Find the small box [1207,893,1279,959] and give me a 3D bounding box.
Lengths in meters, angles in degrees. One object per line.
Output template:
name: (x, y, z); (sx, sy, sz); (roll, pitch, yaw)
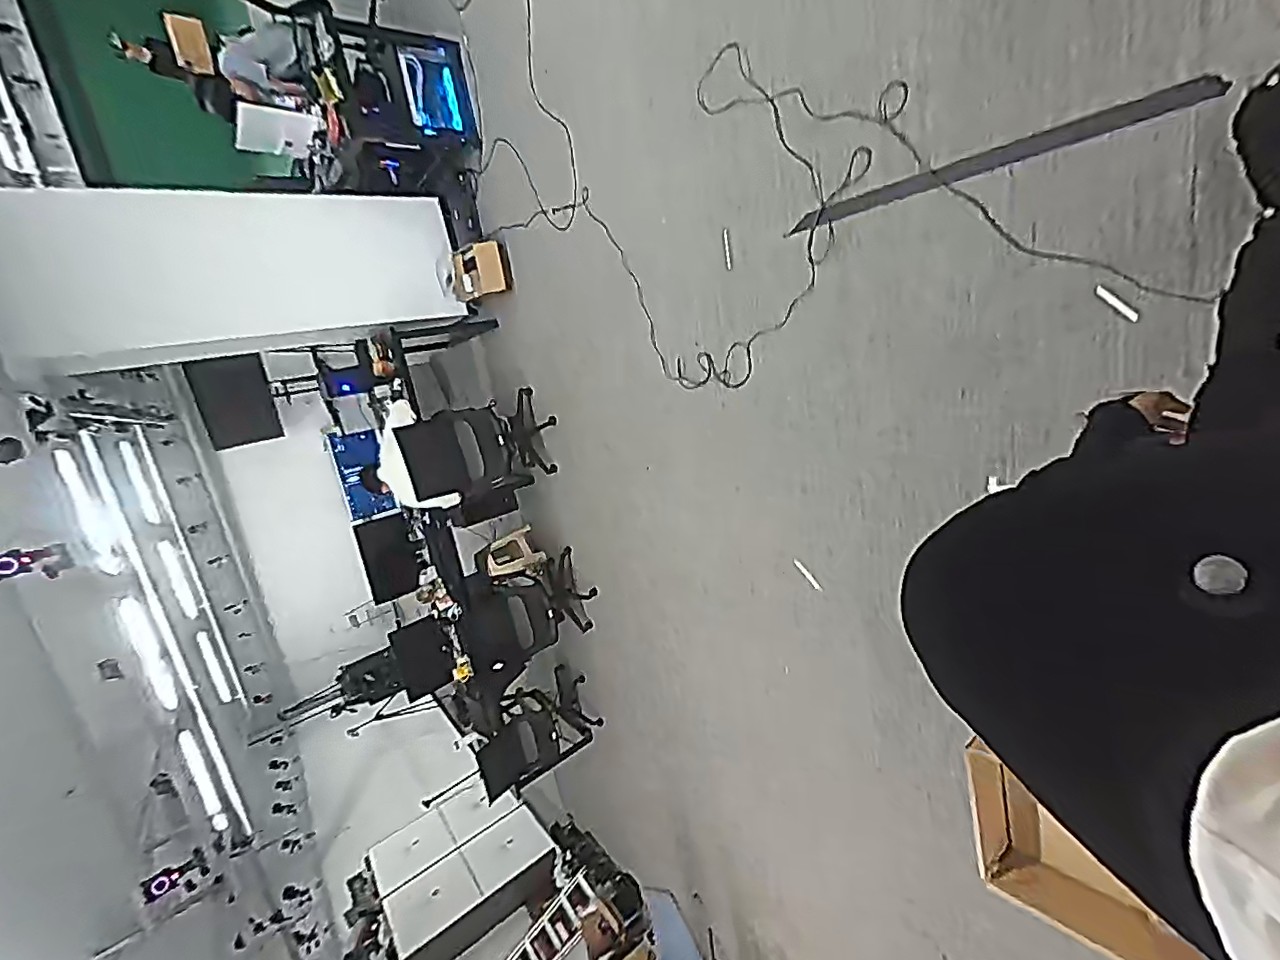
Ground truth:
small box: (1.122, 0.869, 0.930); (0.179, 0.176, 0.168); (0, 107, 54)
